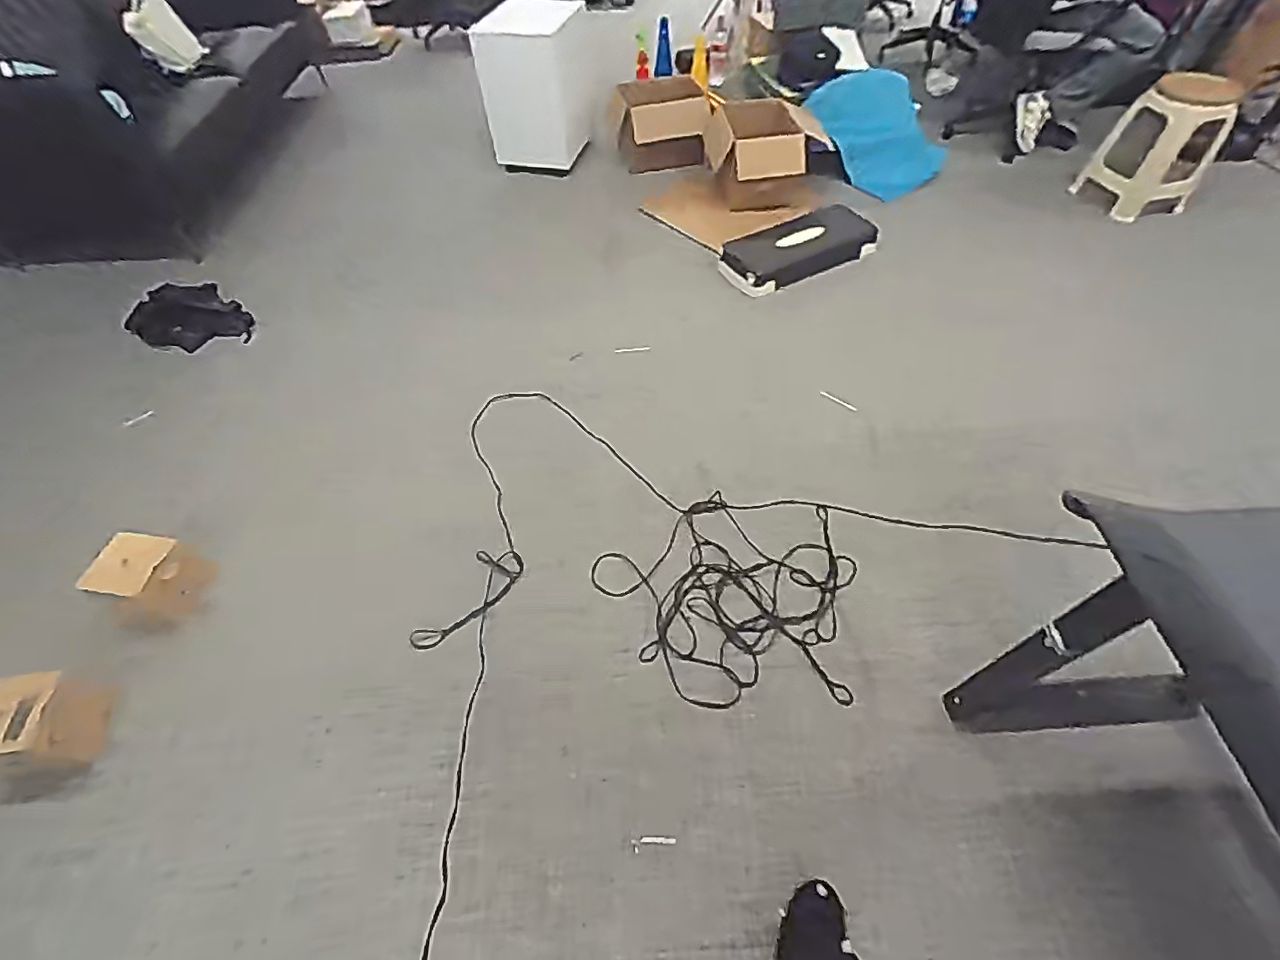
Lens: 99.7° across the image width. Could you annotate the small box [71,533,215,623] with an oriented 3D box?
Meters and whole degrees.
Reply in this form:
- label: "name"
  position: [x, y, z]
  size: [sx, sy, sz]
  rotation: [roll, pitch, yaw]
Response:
- label: "small box"
  position: [-1.275, 0.257, 1.402]
  size: [0.179, 0.176, 0.168]
  rotation: [6, 53, 6]
